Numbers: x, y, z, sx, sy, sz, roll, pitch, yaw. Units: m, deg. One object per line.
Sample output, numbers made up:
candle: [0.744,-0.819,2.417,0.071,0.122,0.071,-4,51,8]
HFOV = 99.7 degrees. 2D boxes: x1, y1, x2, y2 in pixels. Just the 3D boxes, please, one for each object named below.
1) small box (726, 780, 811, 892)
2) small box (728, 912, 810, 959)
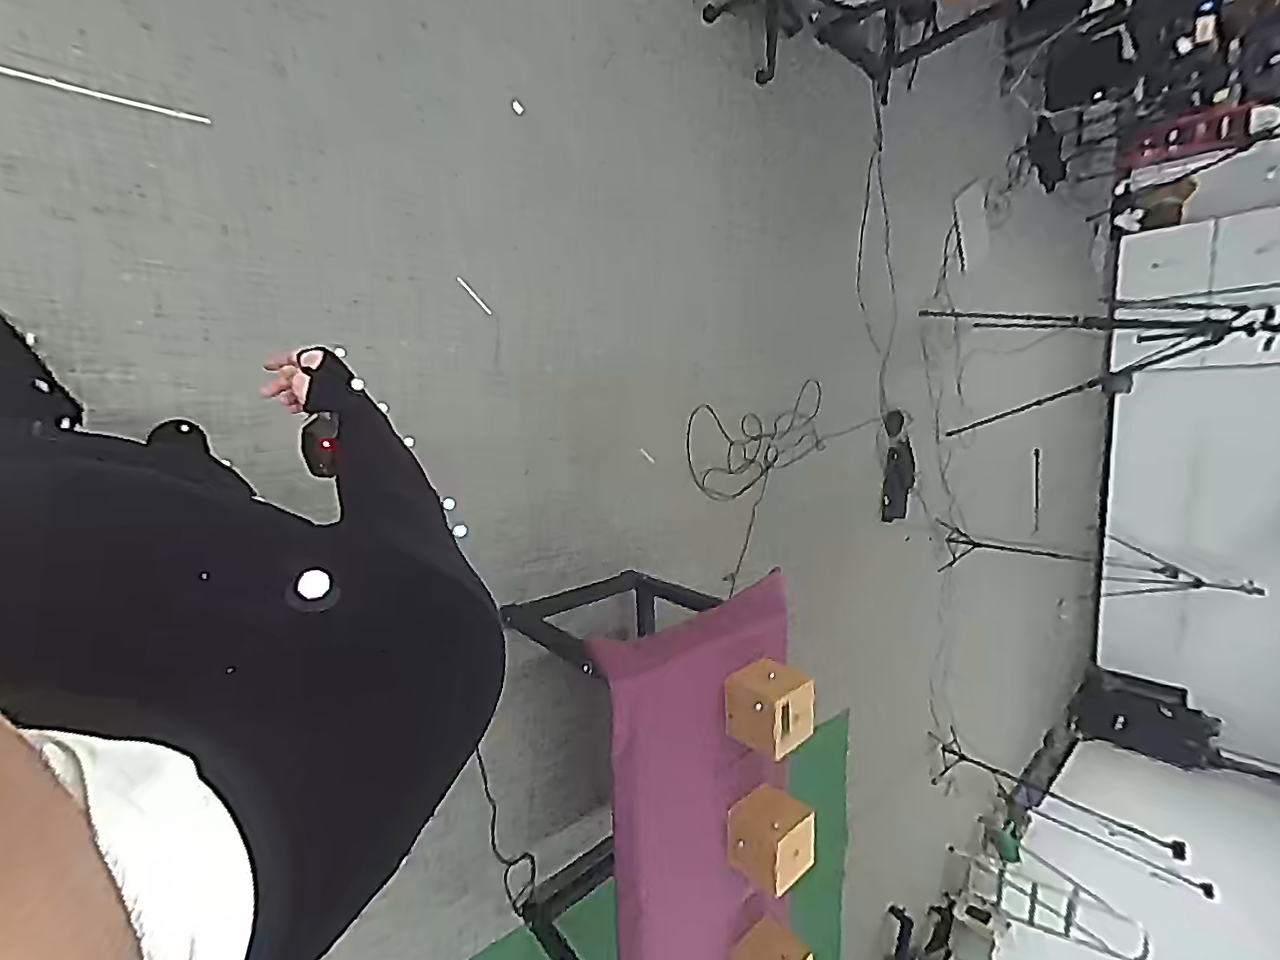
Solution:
small box: [0.364,0.998,1.537,0.179,0.176,0.168,-8,100,-39]
small box: [0.378,1.436,1.587,0.179,0.176,0.168,-6,97,-40]
